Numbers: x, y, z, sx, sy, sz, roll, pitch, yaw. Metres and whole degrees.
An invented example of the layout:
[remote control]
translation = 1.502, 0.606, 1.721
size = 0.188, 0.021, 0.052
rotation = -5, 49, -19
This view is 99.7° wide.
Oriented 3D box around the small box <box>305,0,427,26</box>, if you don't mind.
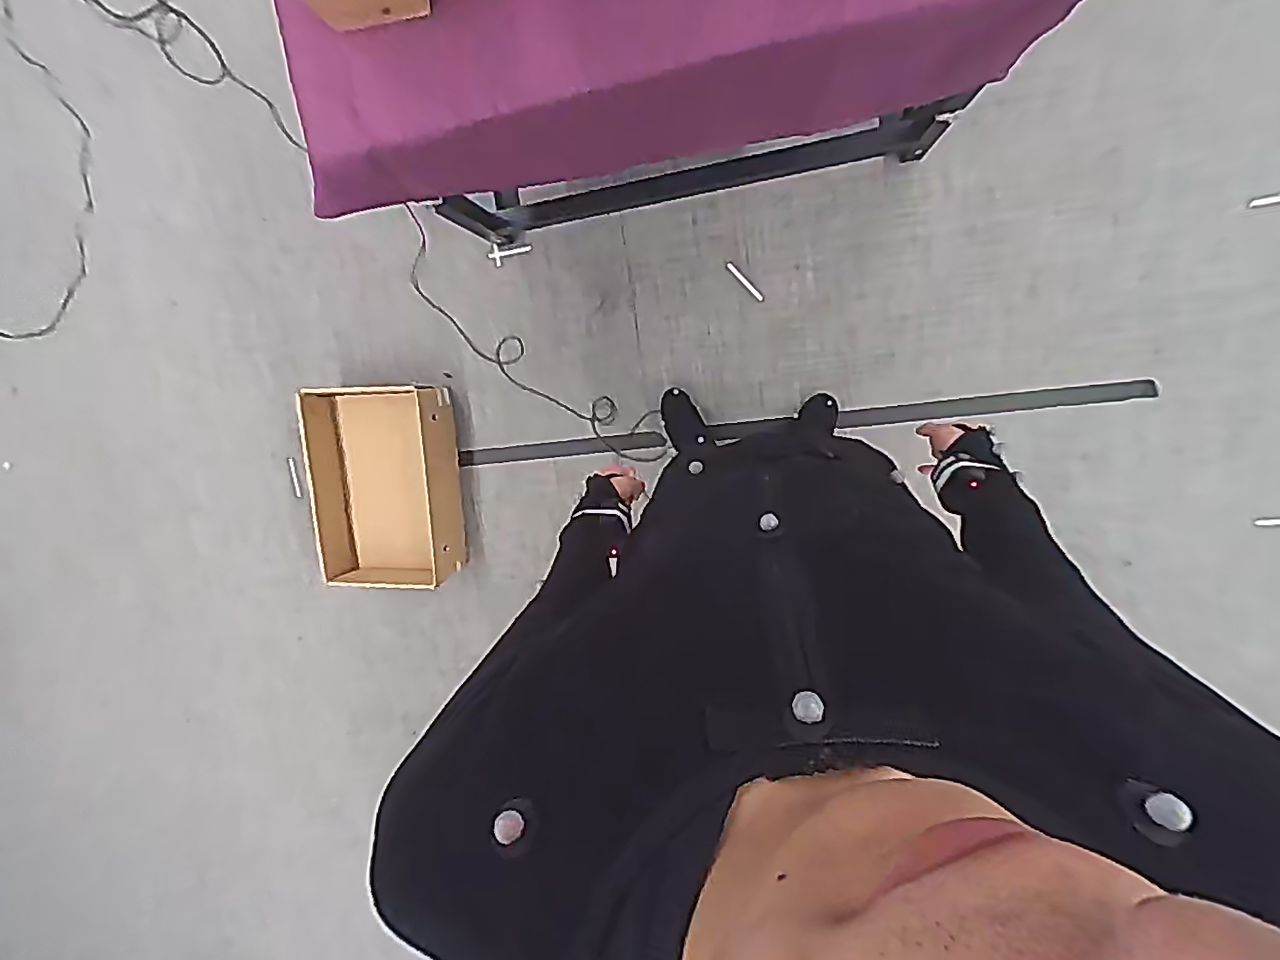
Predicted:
[small box]
translation = -0.420, -0.784, 0.758
size = 0.168, 0.176, 0.179
rotation = -2, 100, 9
